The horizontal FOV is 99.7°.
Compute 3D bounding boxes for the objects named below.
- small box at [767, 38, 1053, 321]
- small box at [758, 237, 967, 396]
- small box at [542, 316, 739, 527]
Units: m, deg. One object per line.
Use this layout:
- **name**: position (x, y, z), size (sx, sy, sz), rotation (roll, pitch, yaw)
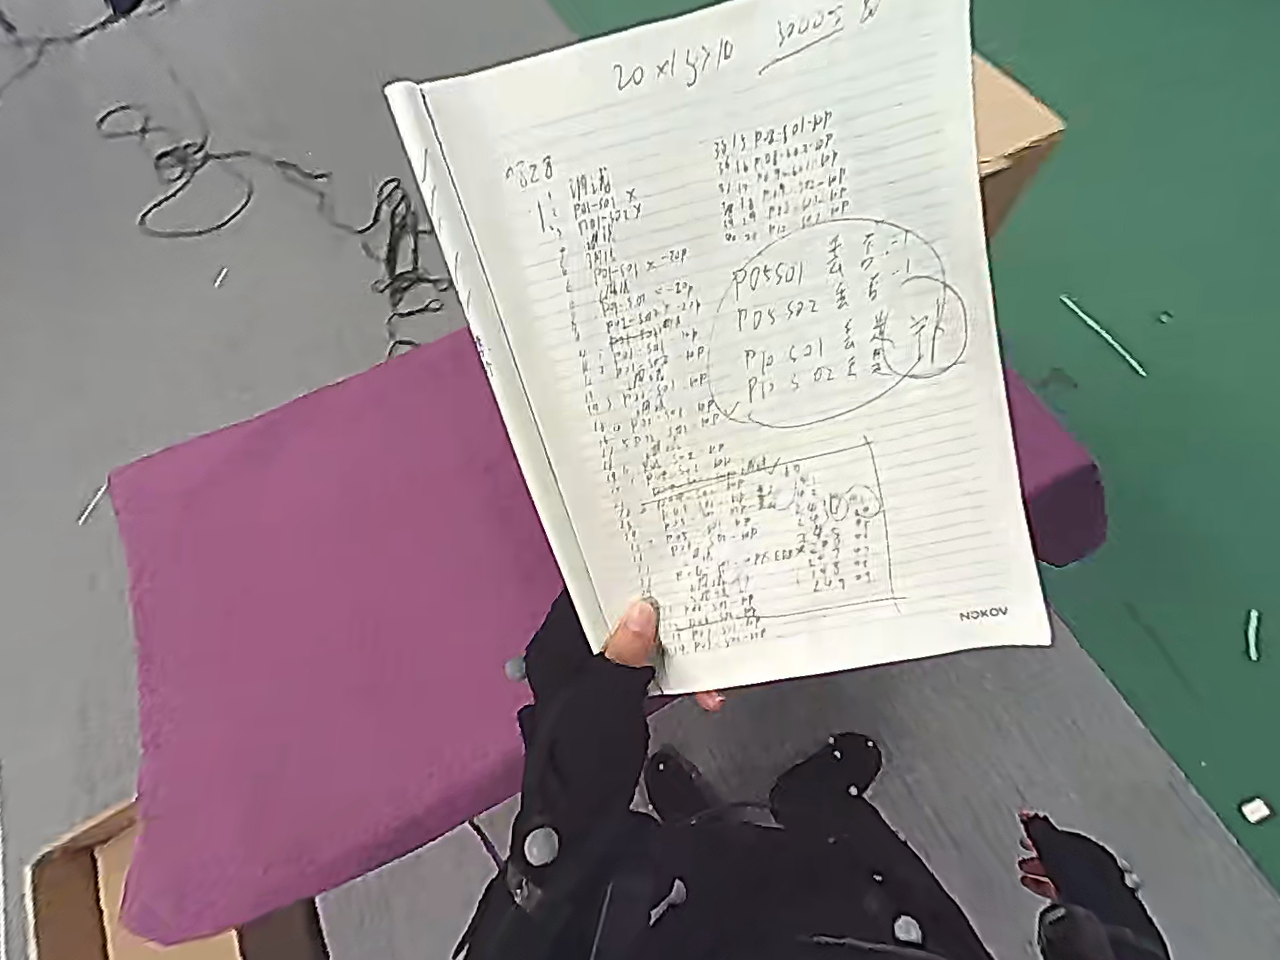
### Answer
- **small box**: position (0.251, -0.291, 0.557), size (0.168, 0.176, 0.179), rotation (-25, 69, -5)
- **small box**: position (0.272, -0.234, 0.709), size (0.168, 0.176, 0.179), rotation (-25, 68, -5)
- **small box**: position (0.006, -0.058, 0.668), size (0.168, 0.176, 0.179), rotation (-28, 67, -5)
